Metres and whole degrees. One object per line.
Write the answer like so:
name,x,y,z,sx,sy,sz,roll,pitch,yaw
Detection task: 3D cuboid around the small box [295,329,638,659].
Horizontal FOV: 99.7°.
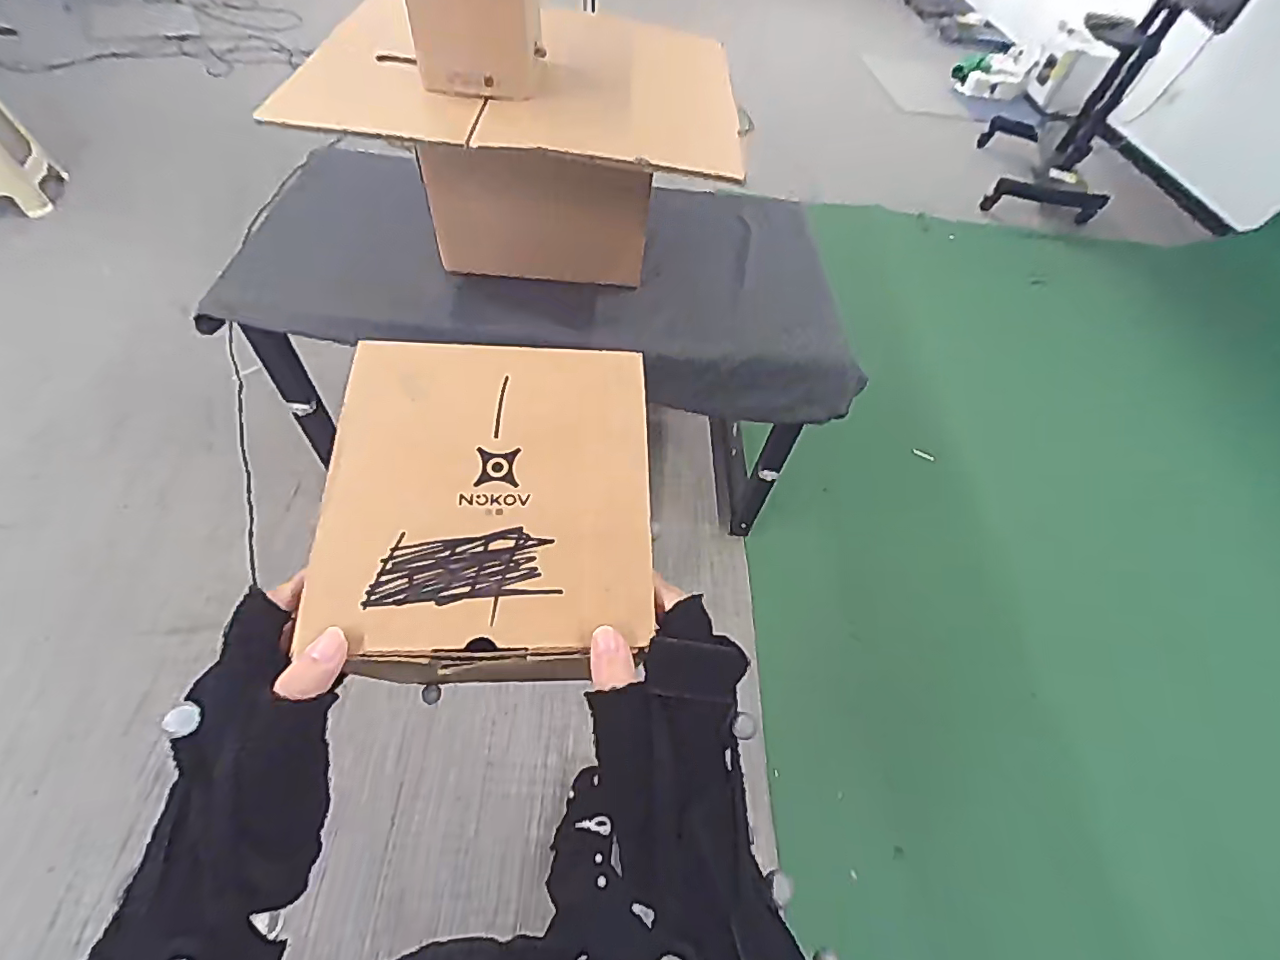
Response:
small box,-0.090,0.024,0.363,0.168,0.176,0.179,1,65,-6

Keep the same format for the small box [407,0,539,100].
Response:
small box,-0.247,-0.711,0.818,0.168,0.176,0.179,3,55,-3
